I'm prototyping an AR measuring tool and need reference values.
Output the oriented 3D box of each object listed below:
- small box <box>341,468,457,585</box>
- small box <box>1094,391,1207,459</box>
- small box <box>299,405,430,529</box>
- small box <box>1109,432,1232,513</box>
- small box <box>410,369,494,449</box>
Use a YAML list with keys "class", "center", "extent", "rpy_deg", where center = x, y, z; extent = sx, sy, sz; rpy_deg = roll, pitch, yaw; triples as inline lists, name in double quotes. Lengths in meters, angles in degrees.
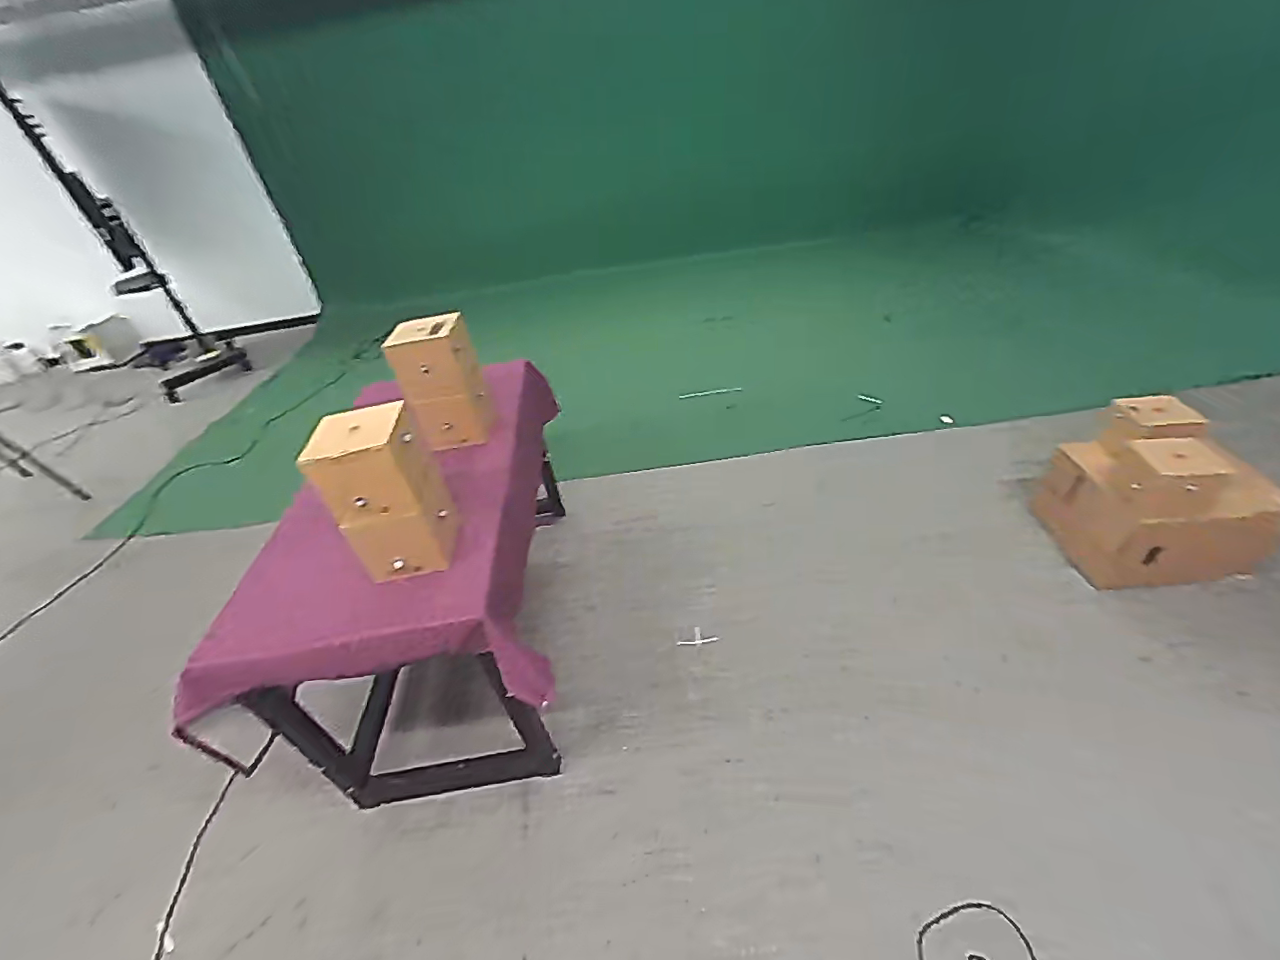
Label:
- class: "small box"
  center: [-0.519, 0.103, 1.196]
  extent: [0.168, 0.176, 0.179]
  rpy_deg: [-12, 38, -1]
- class: "small box"
  center: [1.609, -0.166, 1.719]
  extent: [0.179, 0.176, 0.168]
  rpy_deg: [-3, 37, 7]
- class: "small box"
  center: [-0.545, -0.027, 1.102]
  extent: [0.168, 0.176, 0.179]
  rpy_deg: [-13, 38, -2]
- class: "small box"
  center: [1.500, -0.019, 1.551]
  extent: [0.179, 0.176, 0.168]
  rpy_deg: [-3, 39, 8]
- class: "small box"
  center: [-0.545, -0.204, 1.599]
  extent: [0.168, 0.176, 0.179]
  rpy_deg: [-8, 37, 4]
